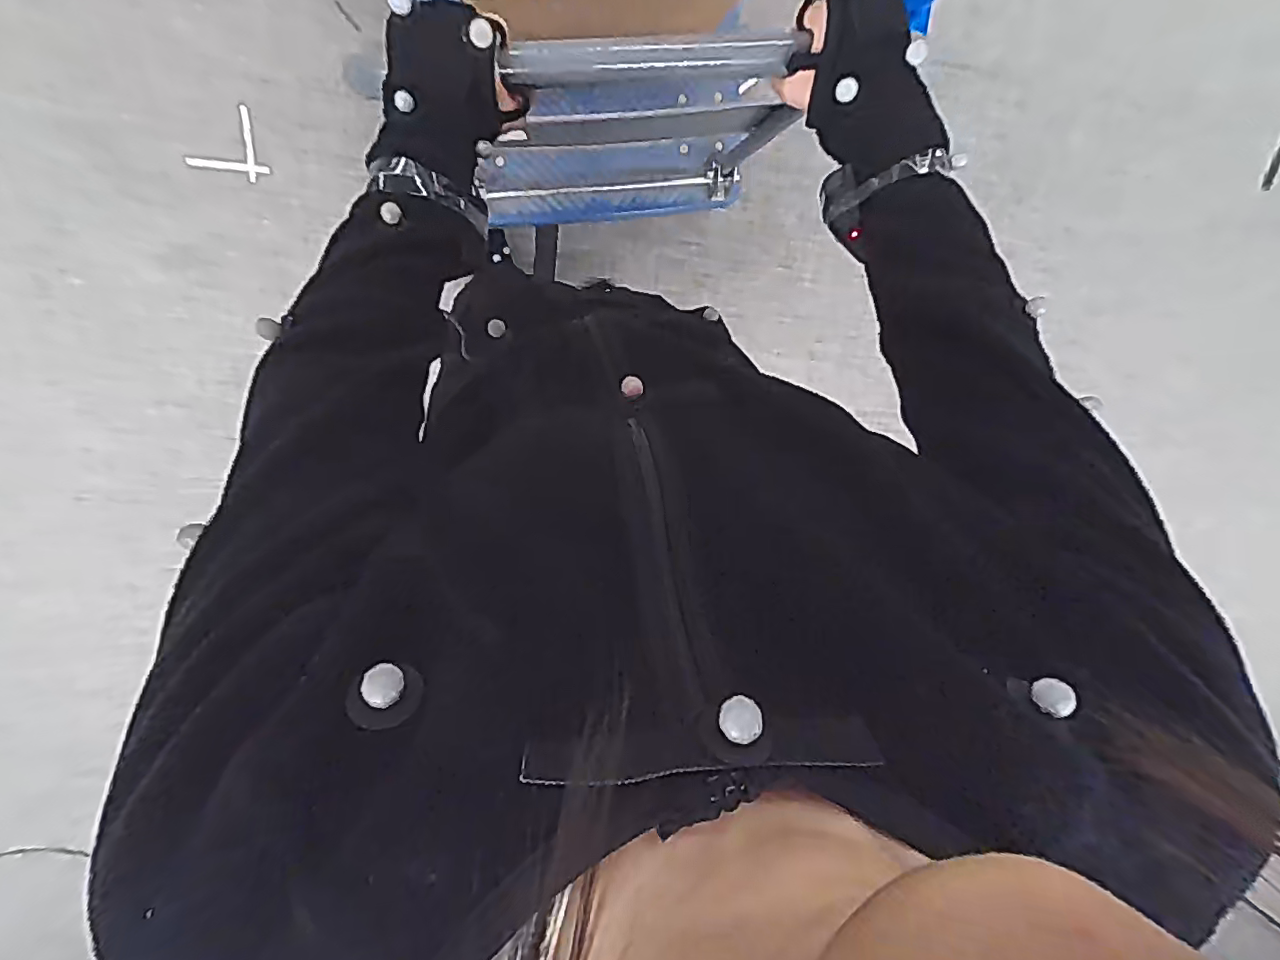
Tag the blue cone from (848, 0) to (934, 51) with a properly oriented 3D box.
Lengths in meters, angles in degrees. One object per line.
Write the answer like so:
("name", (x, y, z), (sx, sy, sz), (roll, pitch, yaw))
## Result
("blue cone", (0.559, -0.972, 0.994), (0.193, 0.380, 0.192), (-1, 111, -9))
